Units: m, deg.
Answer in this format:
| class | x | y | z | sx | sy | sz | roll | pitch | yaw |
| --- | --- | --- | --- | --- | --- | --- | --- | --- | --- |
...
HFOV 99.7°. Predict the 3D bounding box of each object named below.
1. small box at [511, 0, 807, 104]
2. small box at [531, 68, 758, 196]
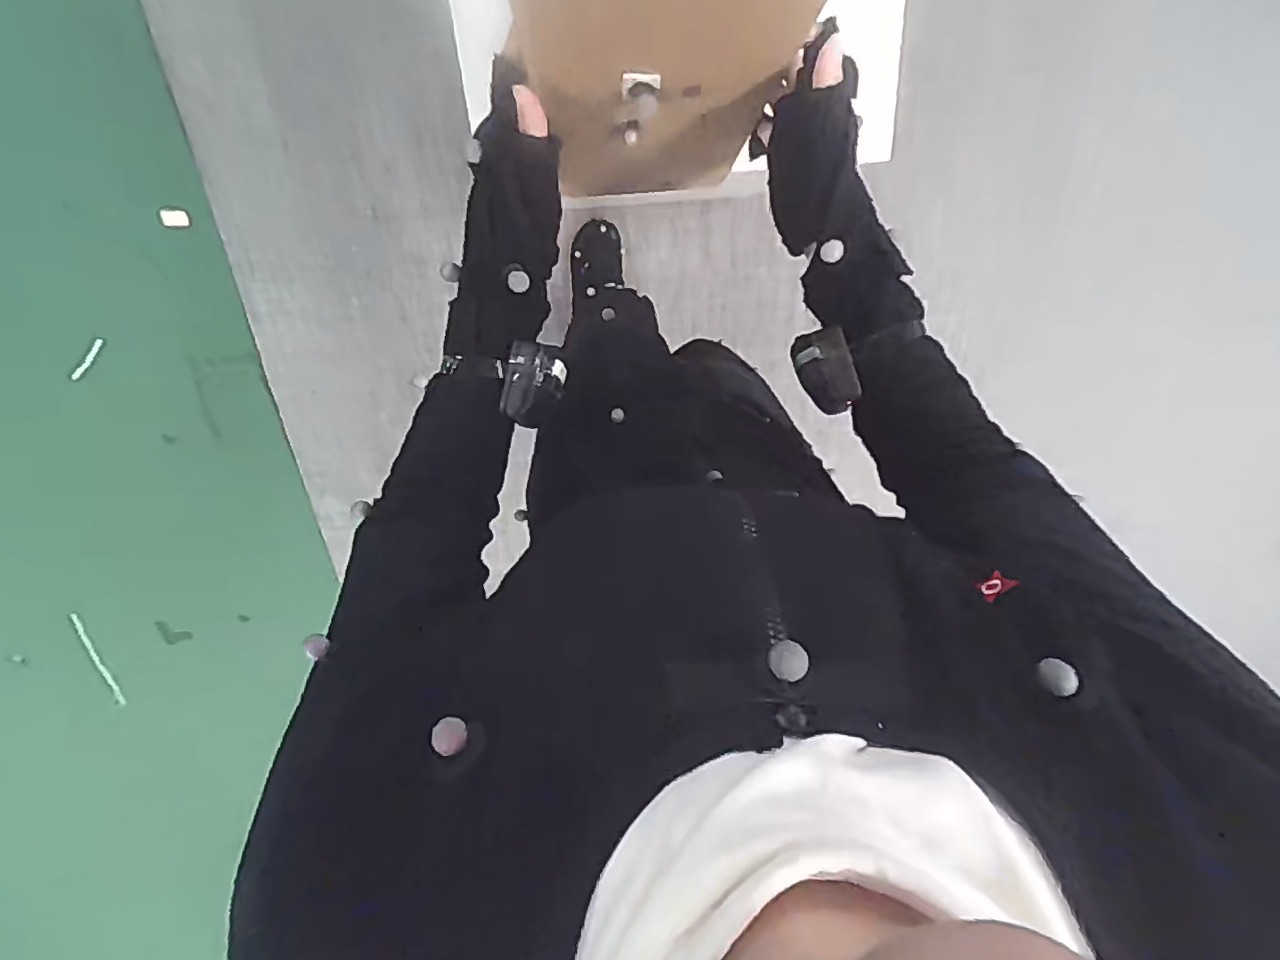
| class | x | y | z | sx | sy | sz | roll | pitch | yaw |
| --- | --- | --- | --- | --- | --- | --- | --- | --- | --- |
| small box | 0.004 | -0.337 | 0.280 | 0.168 | 0.176 | 0.179 | -6 | 100 | -1 |
| small box | -0.005 | -0.367 | 0.457 | 0.168 | 0.176 | 0.179 | -5 | 99 | -2 |
